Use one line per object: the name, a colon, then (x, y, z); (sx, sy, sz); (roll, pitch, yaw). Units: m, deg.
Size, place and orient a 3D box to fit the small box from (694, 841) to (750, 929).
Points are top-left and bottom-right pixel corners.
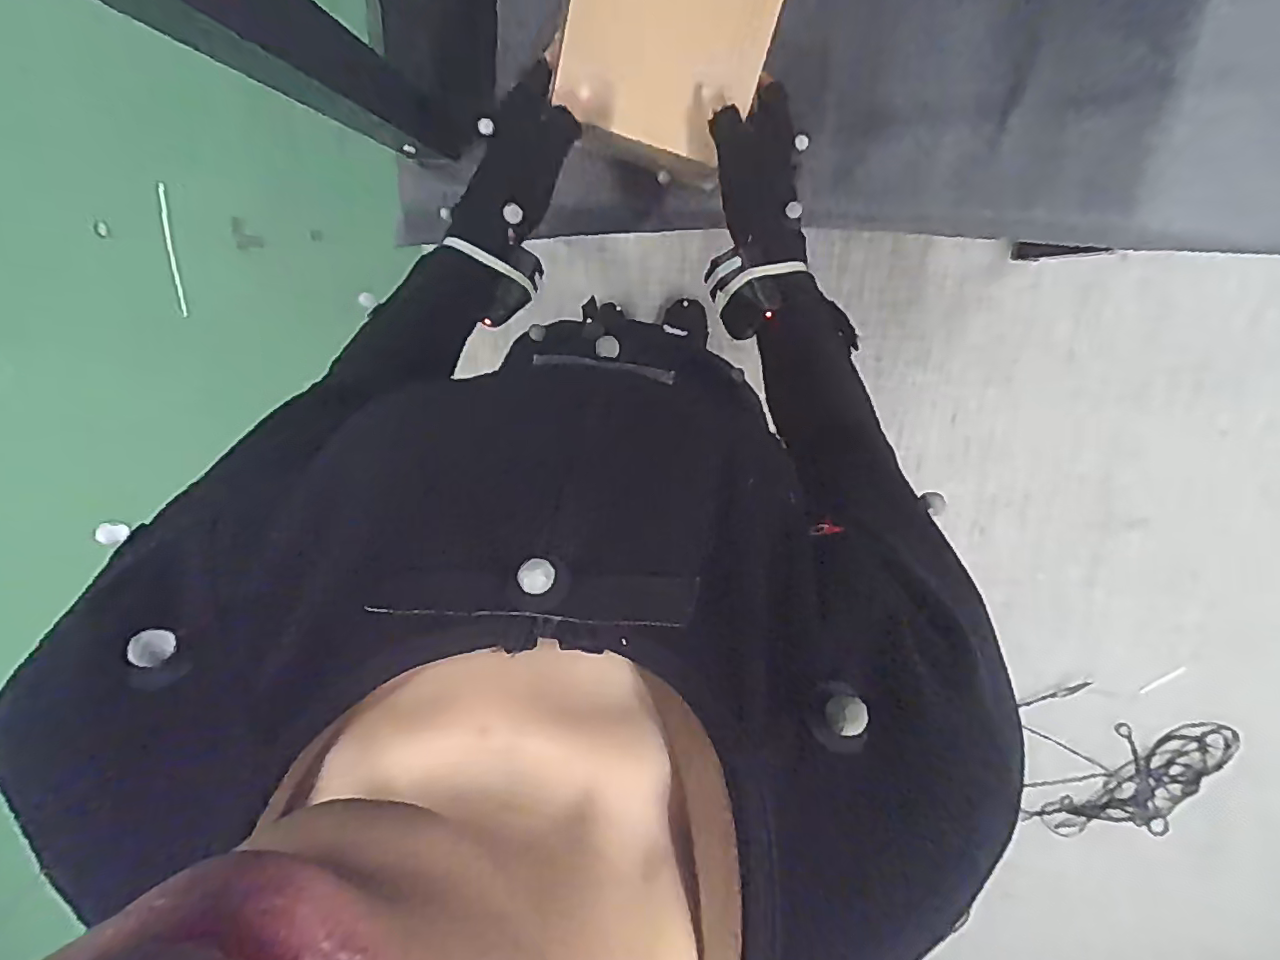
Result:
small box: (0.278, 1.403, 1.877); (0.168, 0.176, 0.179); (5, 108, 1)
